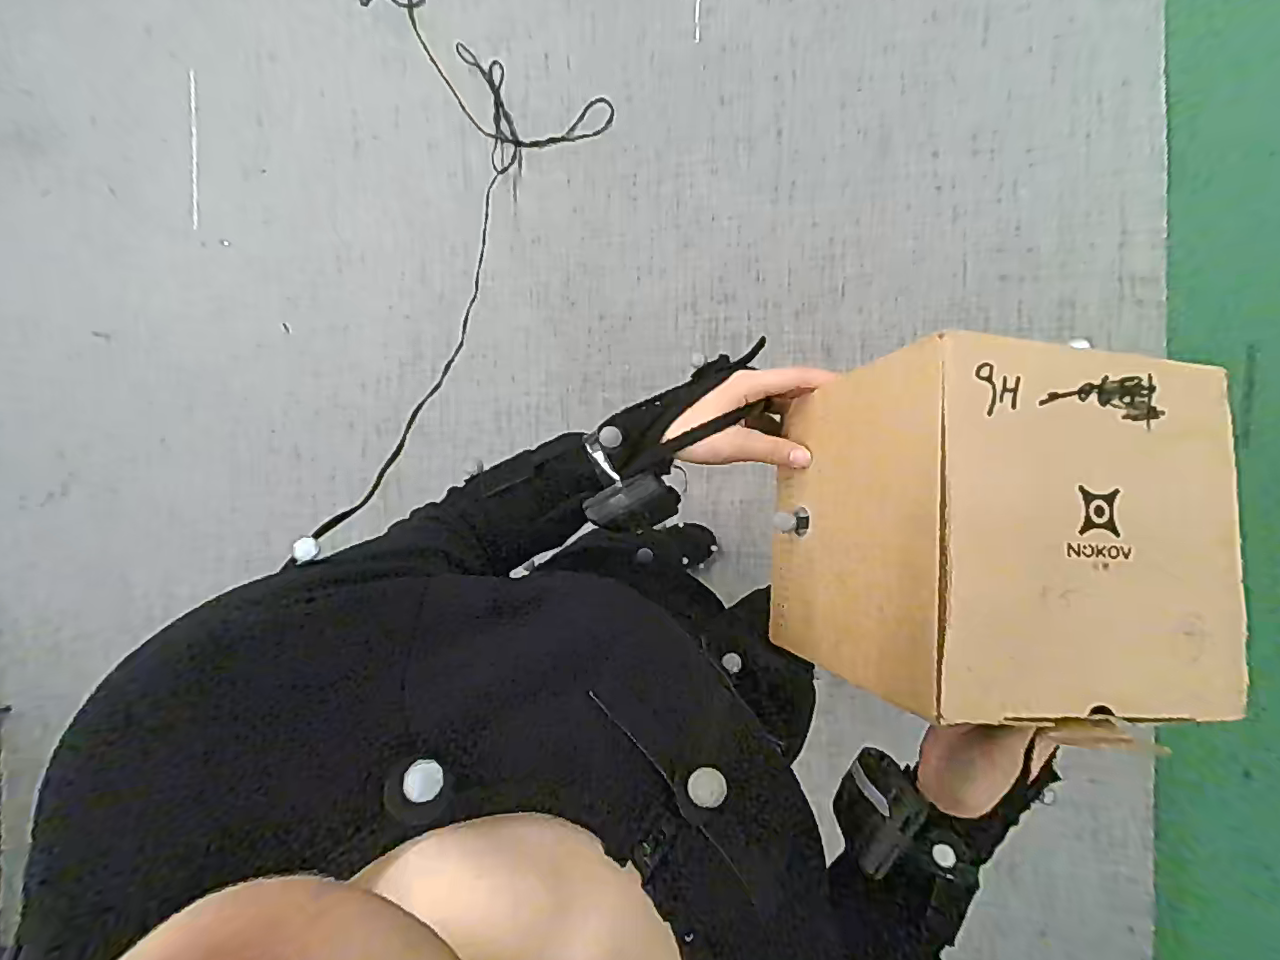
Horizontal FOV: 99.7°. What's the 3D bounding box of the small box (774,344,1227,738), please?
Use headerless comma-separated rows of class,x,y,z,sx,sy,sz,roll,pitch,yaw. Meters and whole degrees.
small box,0.196,0.037,0.336,0.168,0.176,0.179,7,84,-11
